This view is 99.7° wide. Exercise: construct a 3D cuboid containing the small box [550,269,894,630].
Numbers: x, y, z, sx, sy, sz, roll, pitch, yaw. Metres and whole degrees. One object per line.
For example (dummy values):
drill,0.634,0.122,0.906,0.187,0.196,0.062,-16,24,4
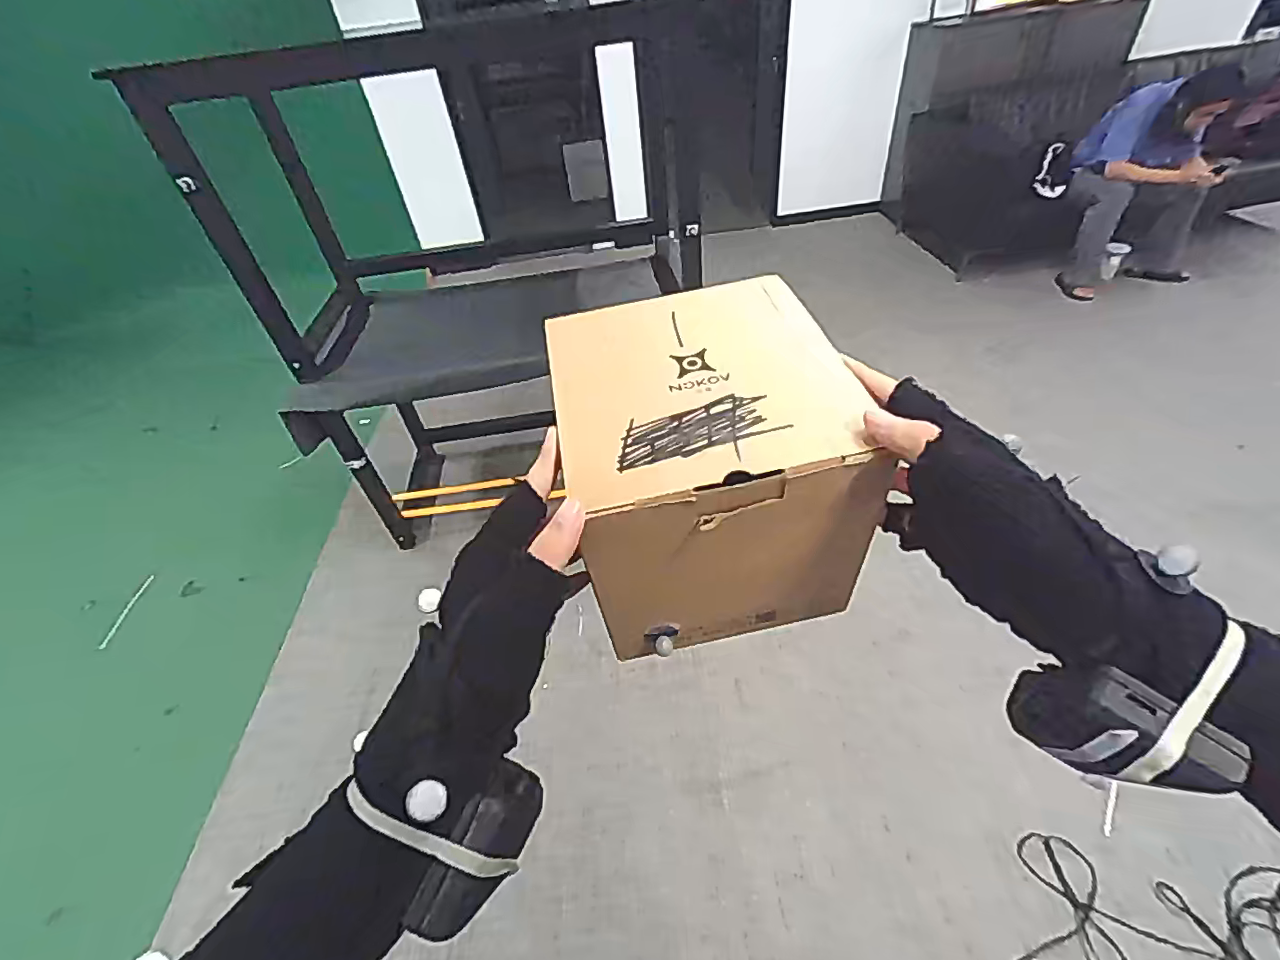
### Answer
small box,0.042,-0.014,0.374,0.168,0.176,0.179,-12,47,-2
